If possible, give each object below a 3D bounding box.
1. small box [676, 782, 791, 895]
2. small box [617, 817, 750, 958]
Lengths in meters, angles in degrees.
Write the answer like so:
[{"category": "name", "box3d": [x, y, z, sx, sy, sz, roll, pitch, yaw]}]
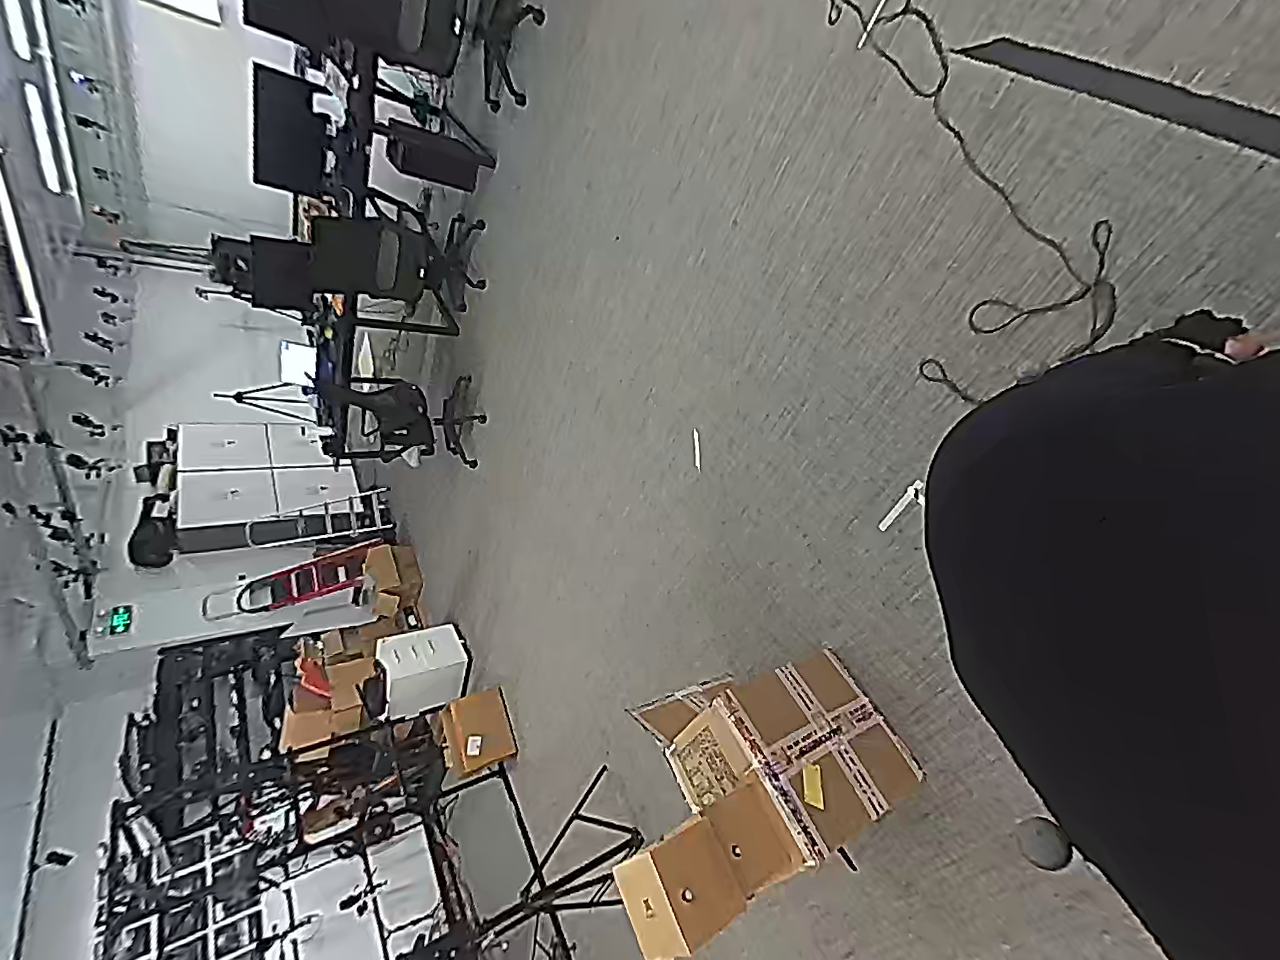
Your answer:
[{"category": "small box", "box3d": [0.204, 0.825, 1.223, 0.179, 0.176, 0.168, 57, 132, 32]}, {"category": "small box", "box3d": [0.088, 0.823, 1.109, 0.168, 0.176, 0.179, -53, 54, 38]}]
